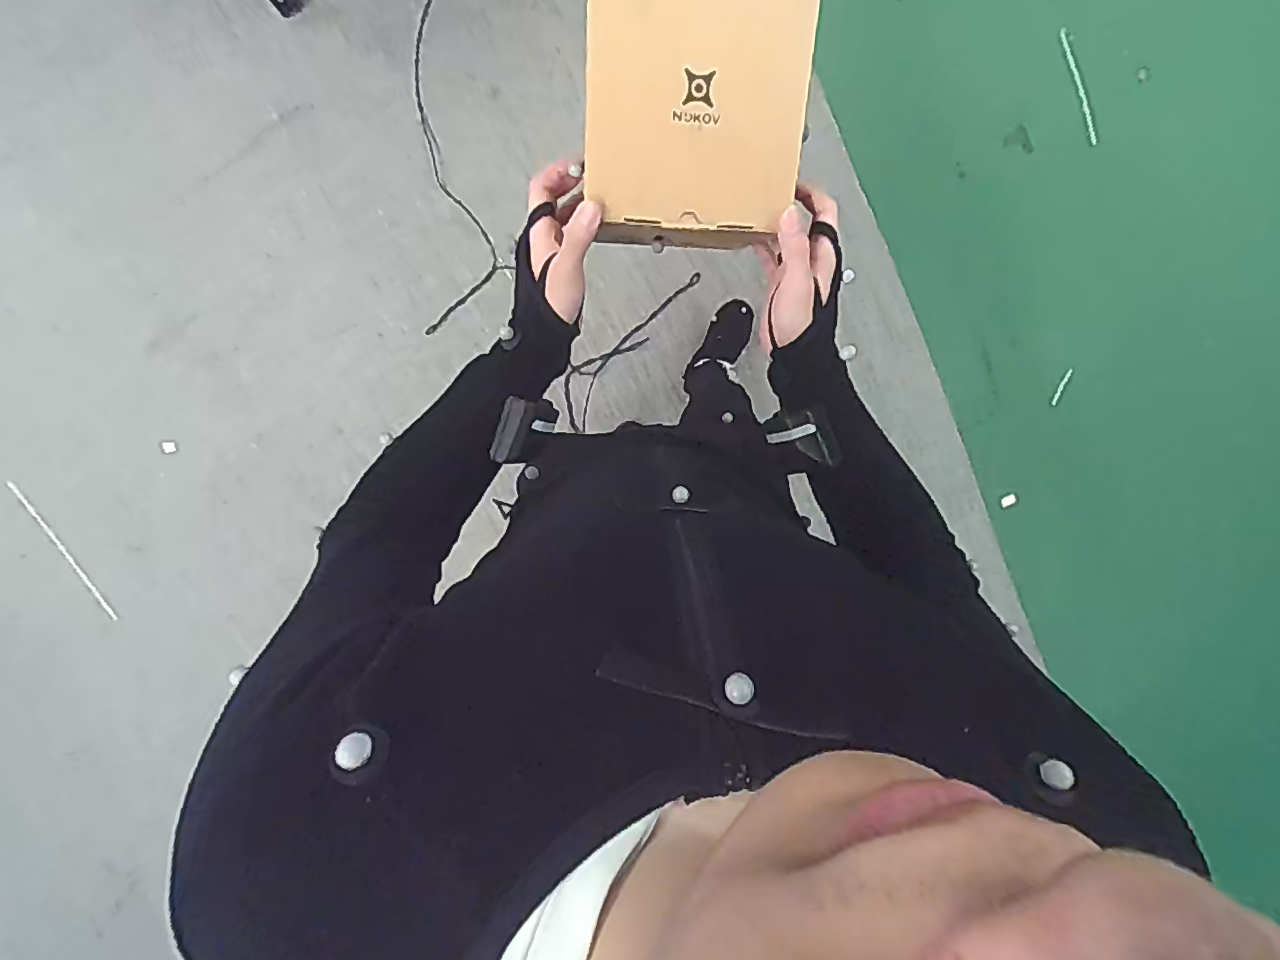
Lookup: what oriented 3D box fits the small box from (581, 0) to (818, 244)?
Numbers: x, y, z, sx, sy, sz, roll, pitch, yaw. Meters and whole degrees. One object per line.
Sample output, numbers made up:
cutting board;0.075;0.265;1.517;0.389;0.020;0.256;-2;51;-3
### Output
small box;0.034;-0.310;0.467;0.168;0.176;0.179;1;110;-5
